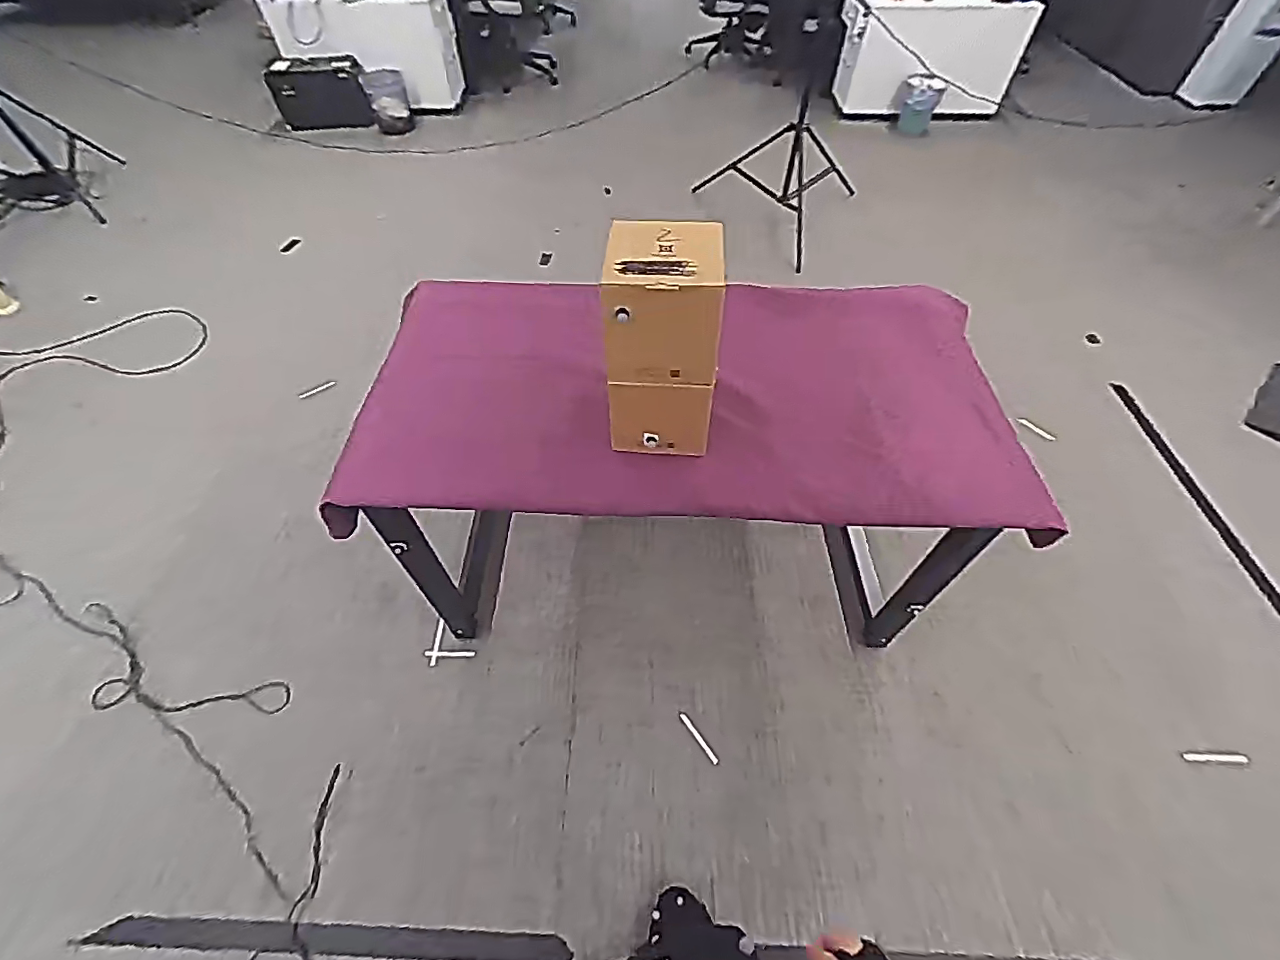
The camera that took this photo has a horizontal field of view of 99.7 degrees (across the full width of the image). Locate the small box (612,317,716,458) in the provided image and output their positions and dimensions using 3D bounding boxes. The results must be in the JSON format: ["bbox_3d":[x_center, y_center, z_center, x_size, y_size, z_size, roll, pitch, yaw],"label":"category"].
[{"bbox_3d":[0.042,-0.162,0.948,0.168,0.176,0.179,2,53,3],"label":"small box"}]
